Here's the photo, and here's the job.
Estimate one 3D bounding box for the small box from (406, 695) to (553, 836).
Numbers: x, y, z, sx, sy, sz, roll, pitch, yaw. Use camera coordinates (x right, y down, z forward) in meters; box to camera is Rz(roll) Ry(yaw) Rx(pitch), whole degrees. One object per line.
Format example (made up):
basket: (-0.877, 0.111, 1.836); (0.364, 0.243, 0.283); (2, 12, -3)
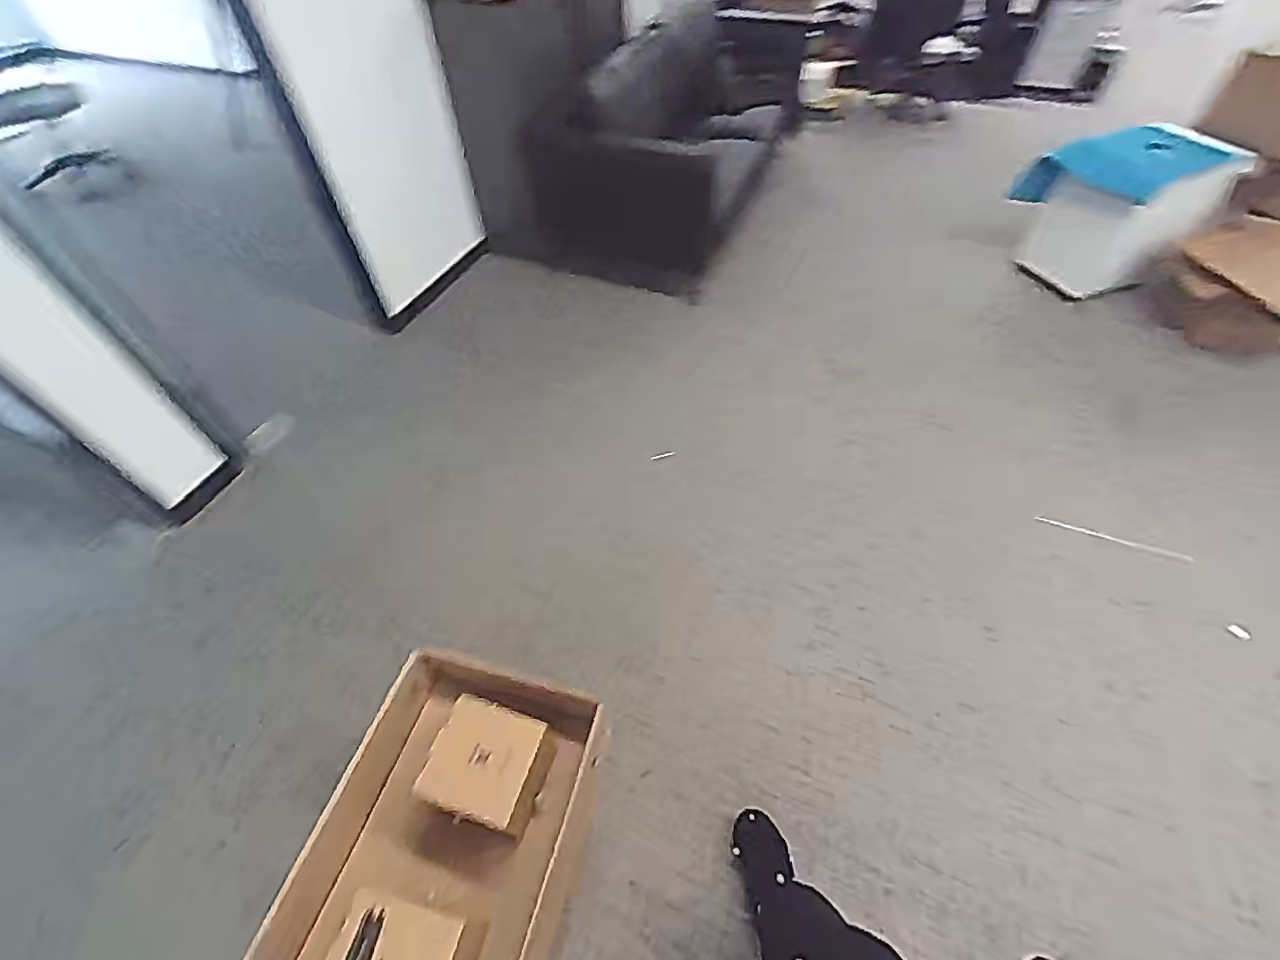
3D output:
small box: (-0.275, 0.516, 0.971); (0.179, 0.176, 0.168); (14, 54, 12)
